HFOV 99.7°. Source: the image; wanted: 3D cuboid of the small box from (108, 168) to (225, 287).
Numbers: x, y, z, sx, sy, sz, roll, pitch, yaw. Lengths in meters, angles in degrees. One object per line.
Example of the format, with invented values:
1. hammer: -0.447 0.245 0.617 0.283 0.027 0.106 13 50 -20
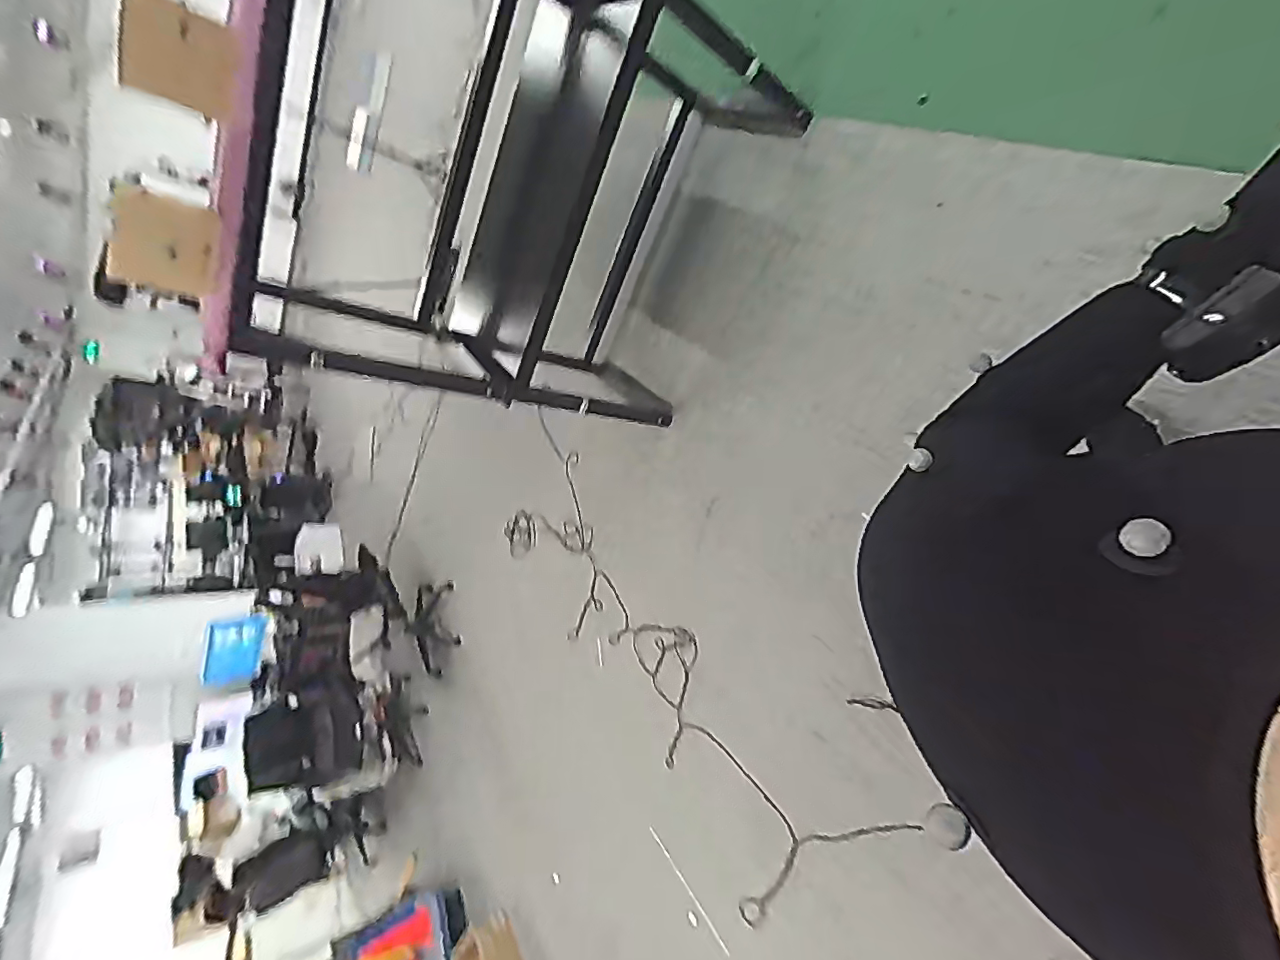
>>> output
1. small box: -0.984 -0.520 1.129 0.179 0.176 0.168 41 115 41

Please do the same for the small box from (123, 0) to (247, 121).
1. small box: -0.863 -0.826 1.032 0.168 0.176 0.179 43 118 41
